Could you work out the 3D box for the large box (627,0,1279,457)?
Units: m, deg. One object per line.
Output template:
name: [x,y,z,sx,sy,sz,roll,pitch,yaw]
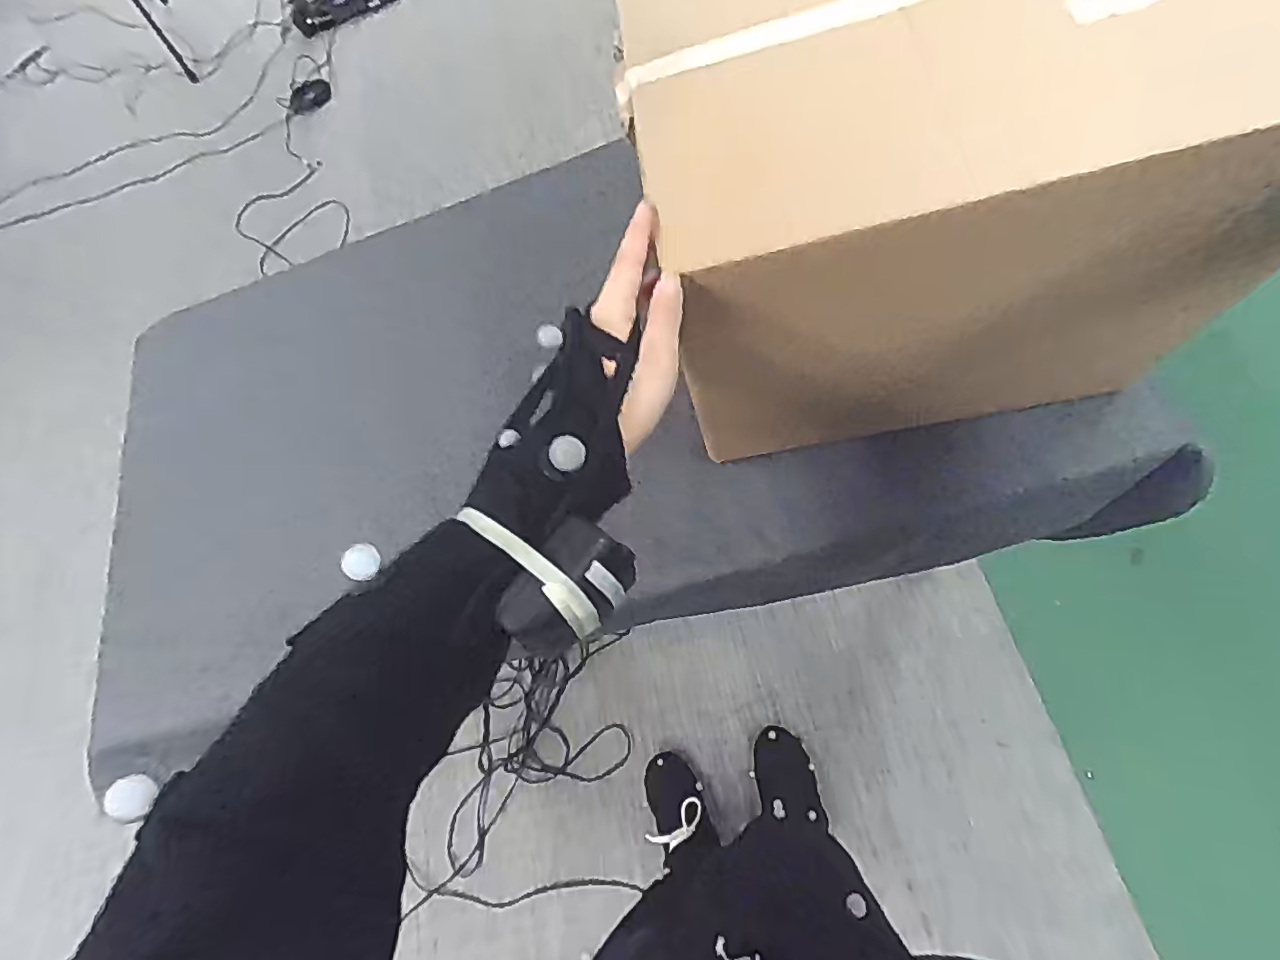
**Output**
large box: [0.225,-0.245,0.468,0.408,0.320,0.320,-10,70,9]
